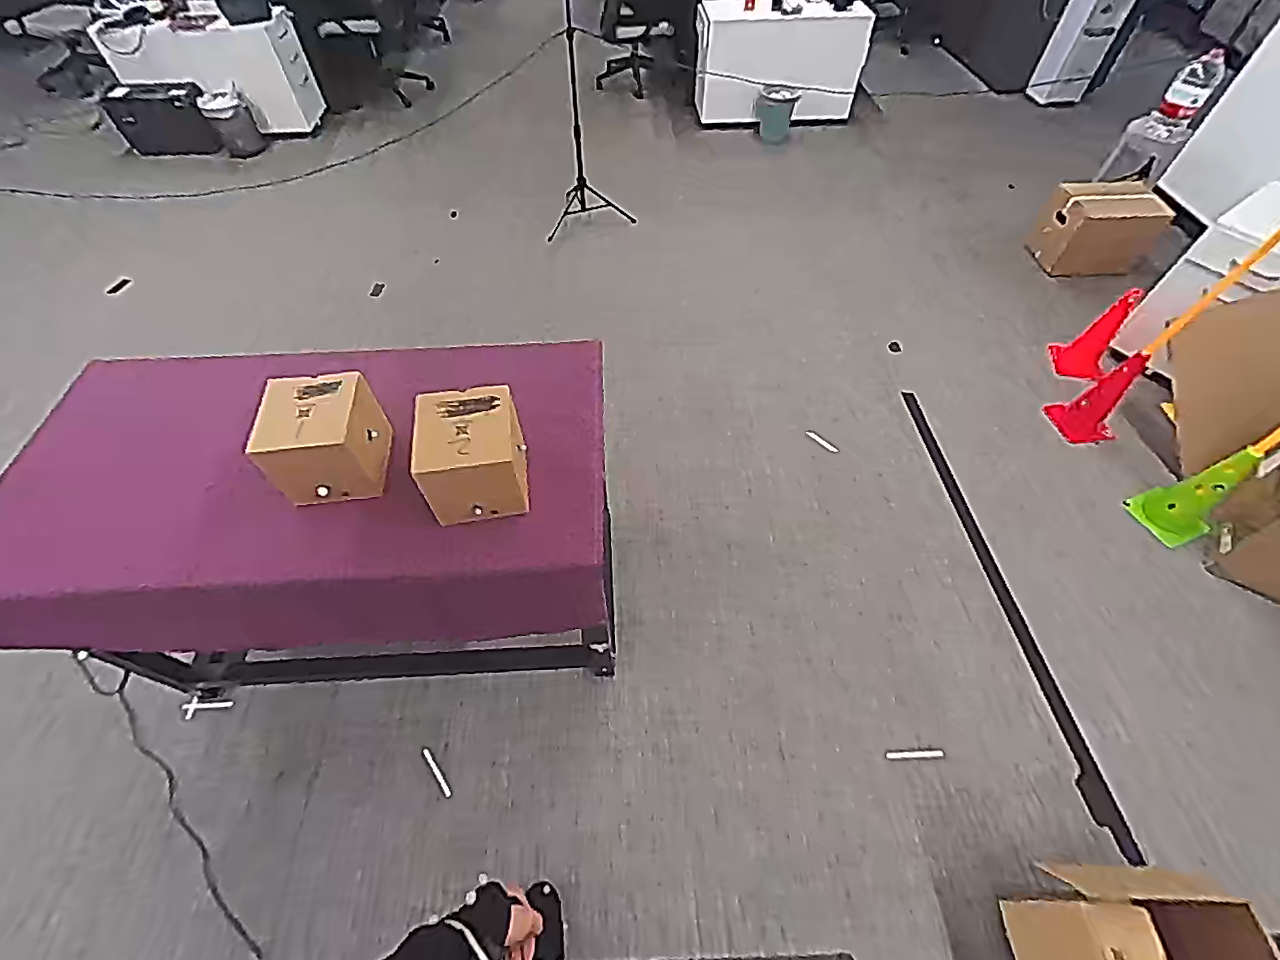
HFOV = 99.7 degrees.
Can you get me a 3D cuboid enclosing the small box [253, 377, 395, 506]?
[{"bbox_3d":[-0.587,-0.072,1.033,0.168,0.176,0.179,-6,55,-4],"label":"small box"}]
